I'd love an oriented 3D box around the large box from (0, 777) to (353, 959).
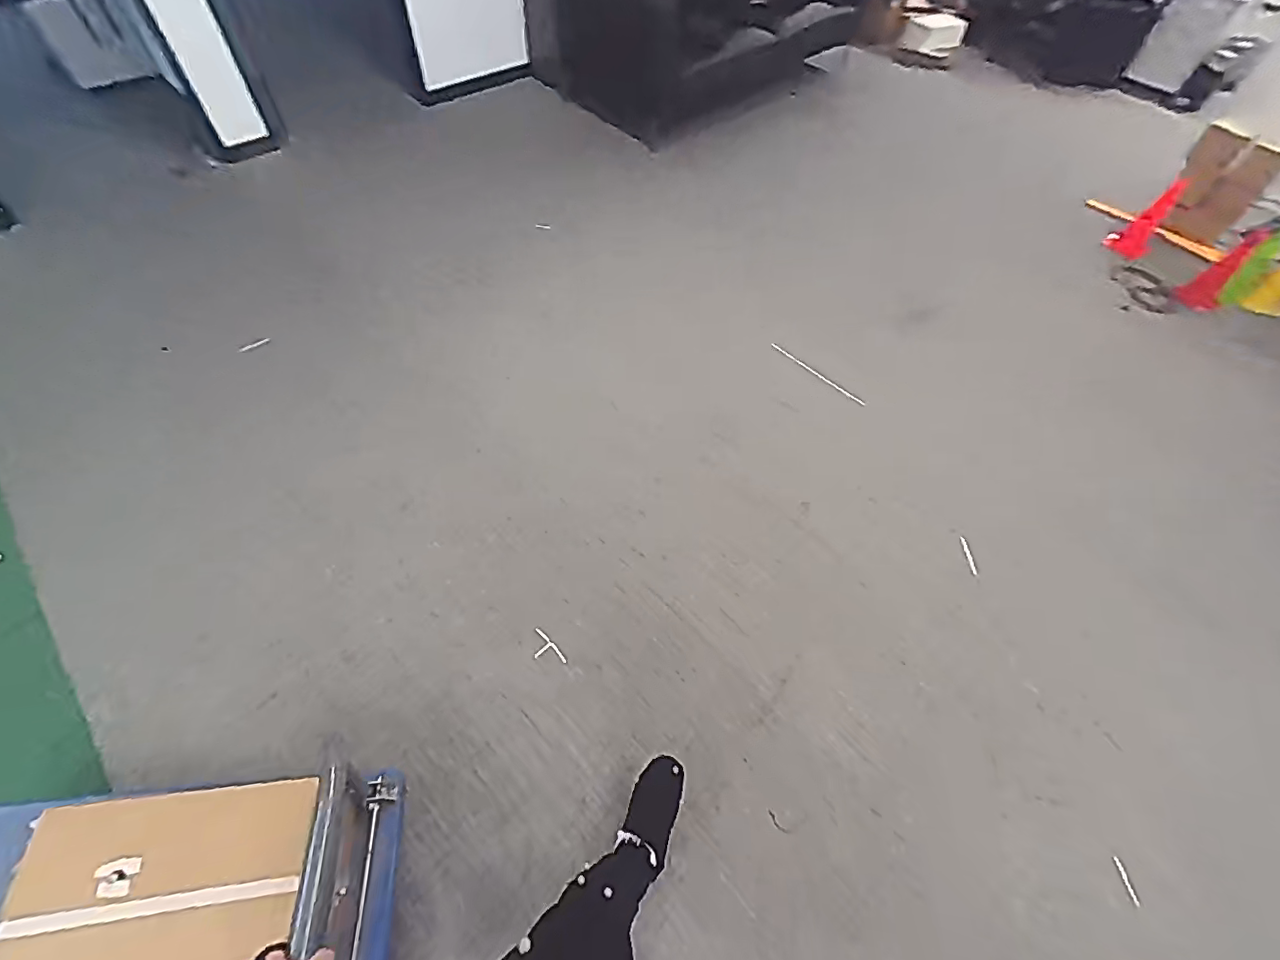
[{"bbox_3d":[-0.766,0.738,0.945,0.408,0.320,0.320,0,55,-14],"label":"large box"}]
